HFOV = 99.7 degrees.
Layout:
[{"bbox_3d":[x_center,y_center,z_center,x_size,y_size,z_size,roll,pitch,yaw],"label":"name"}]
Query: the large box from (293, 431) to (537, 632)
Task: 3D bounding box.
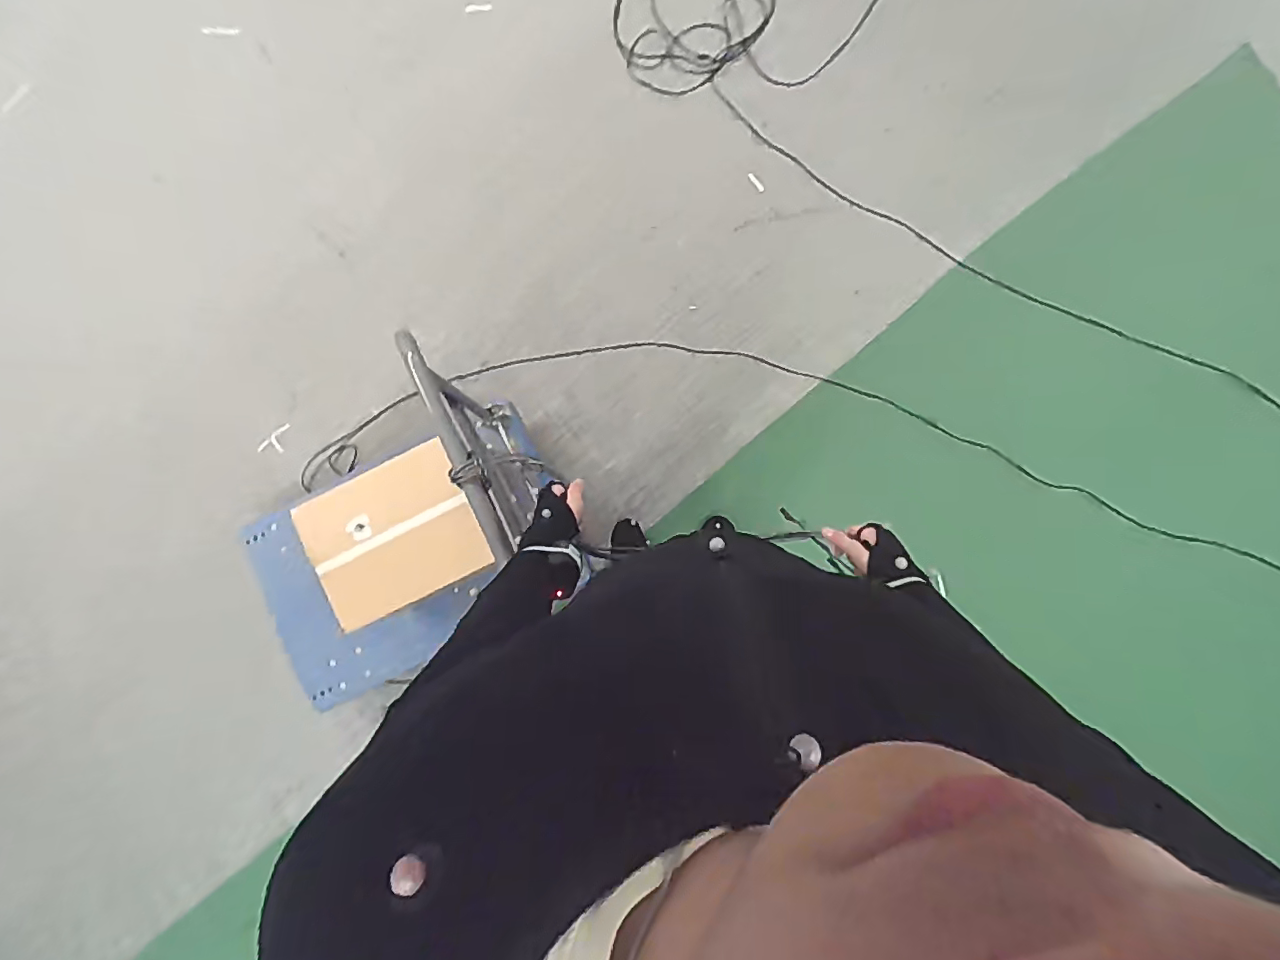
[{"bbox_3d":[-0.528,0.117,1.345,0.408,0.320,0.320,-27,86,2],"label":"large box"}]
